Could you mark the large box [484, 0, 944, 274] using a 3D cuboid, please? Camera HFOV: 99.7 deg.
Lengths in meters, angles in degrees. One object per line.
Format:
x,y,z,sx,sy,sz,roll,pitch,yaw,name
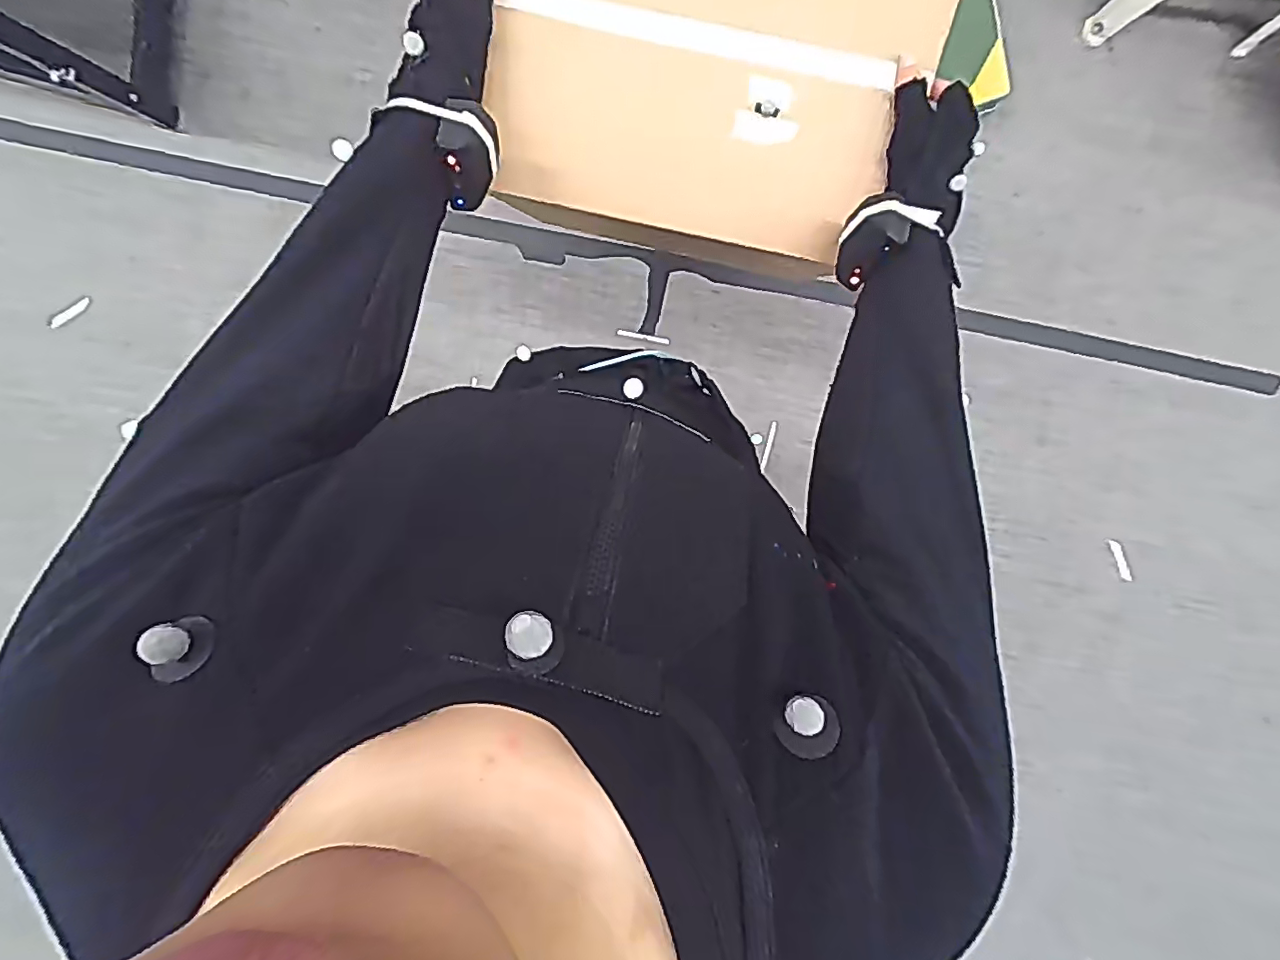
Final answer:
0.066,-0.444,0.640,0.408,0.320,0.320,11,110,-2,large box
